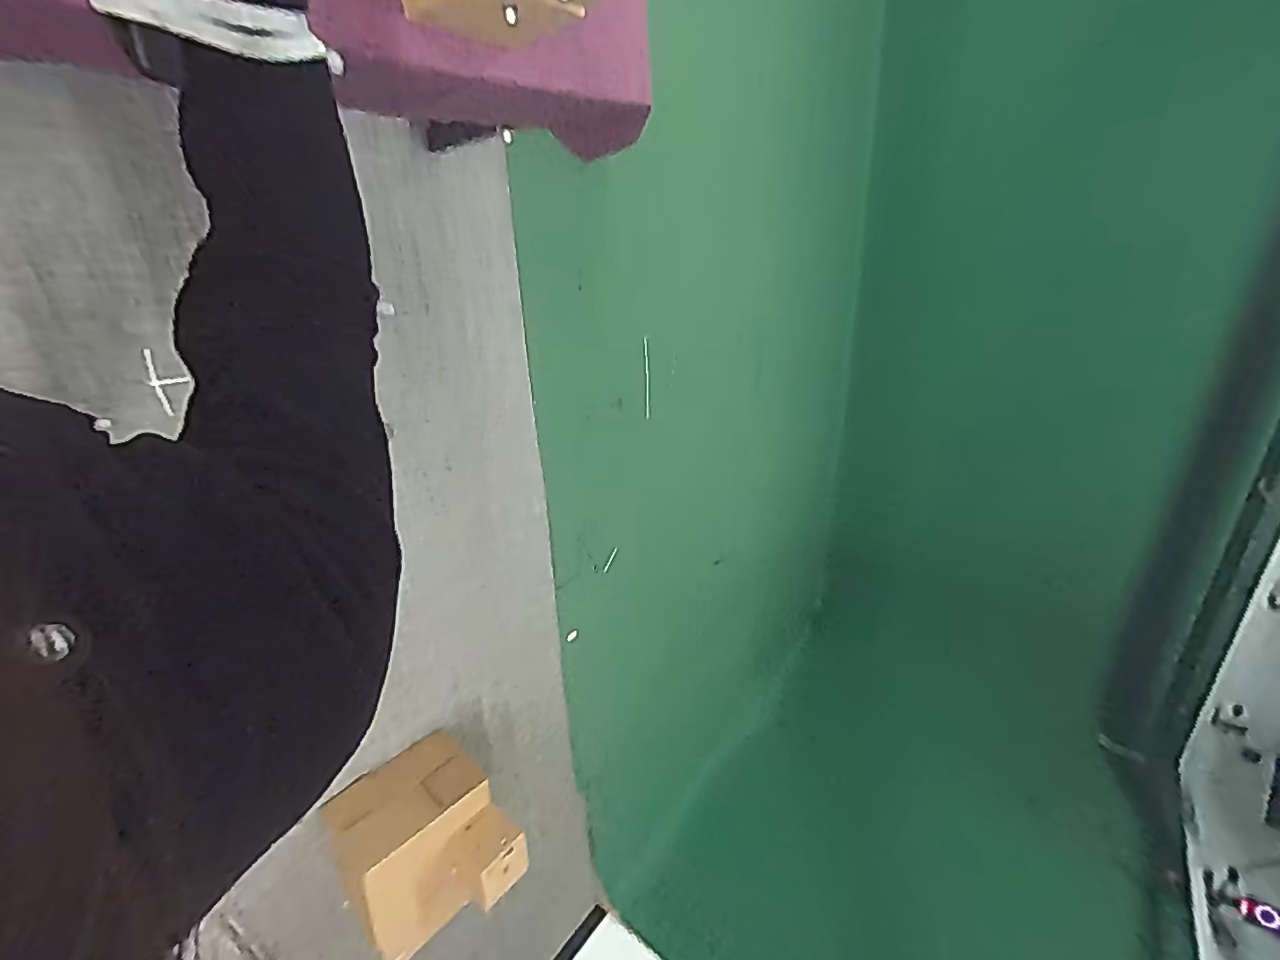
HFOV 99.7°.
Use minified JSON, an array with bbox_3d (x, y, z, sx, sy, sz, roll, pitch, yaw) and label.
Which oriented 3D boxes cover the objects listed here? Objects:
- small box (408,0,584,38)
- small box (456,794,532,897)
[{"bbox_3d":[-0.197,-0.701,0.692,0.179,0.176,0.168,-28,124,-44],"label":"small box"},{"bbox_3d":[-0.462,1.149,1.714,0.168,0.176,0.179,-25,124,-47],"label":"small box"}]
